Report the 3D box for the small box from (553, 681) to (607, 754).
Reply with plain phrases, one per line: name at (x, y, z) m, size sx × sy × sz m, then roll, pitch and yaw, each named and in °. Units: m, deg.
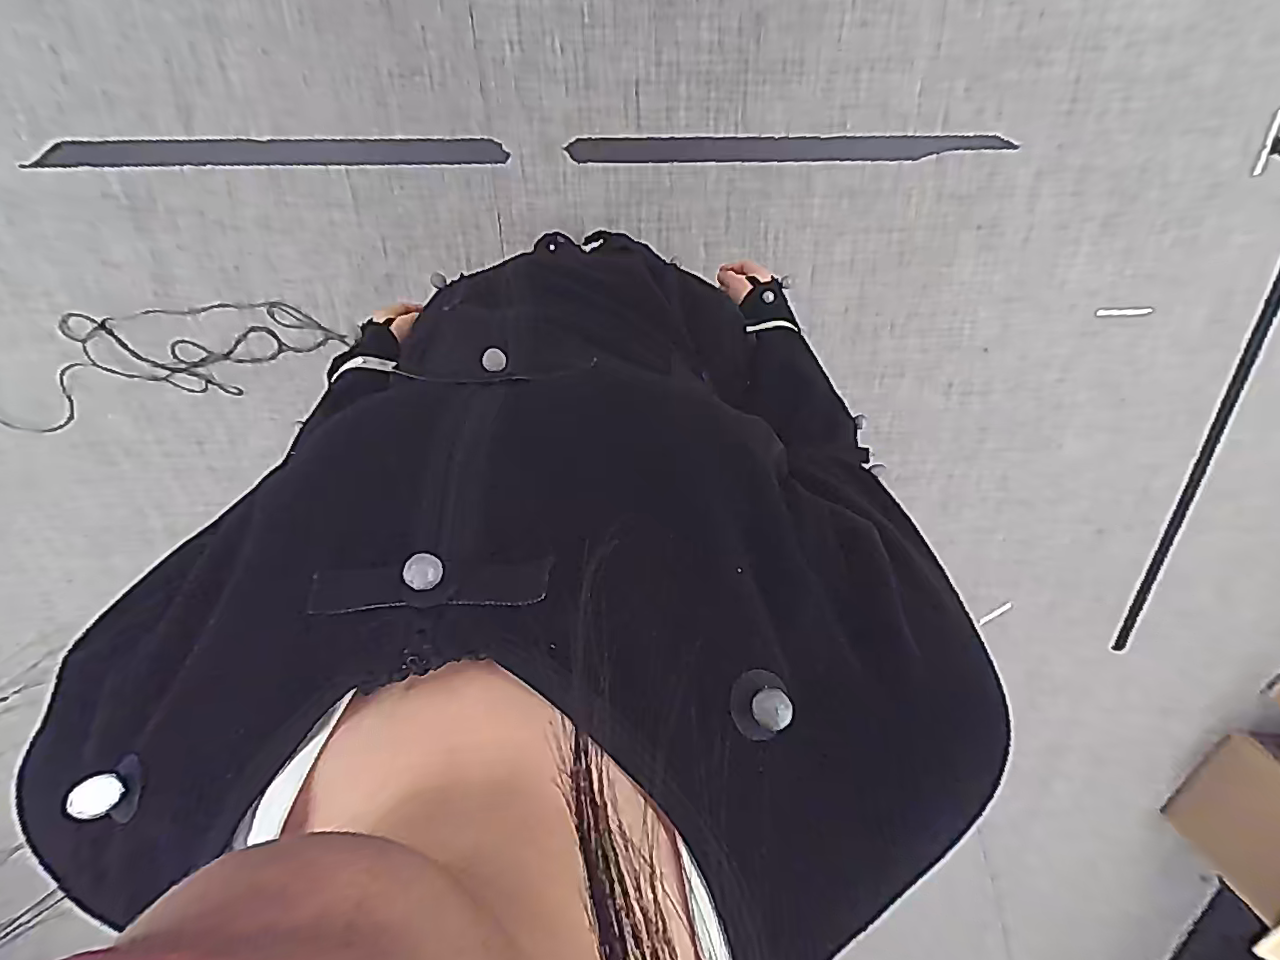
small box at (-0.206, 0.813, 1.861) m, size 0.179 × 0.176 × 0.168 m, roll 2°, pitch 115°, yaw -6°
